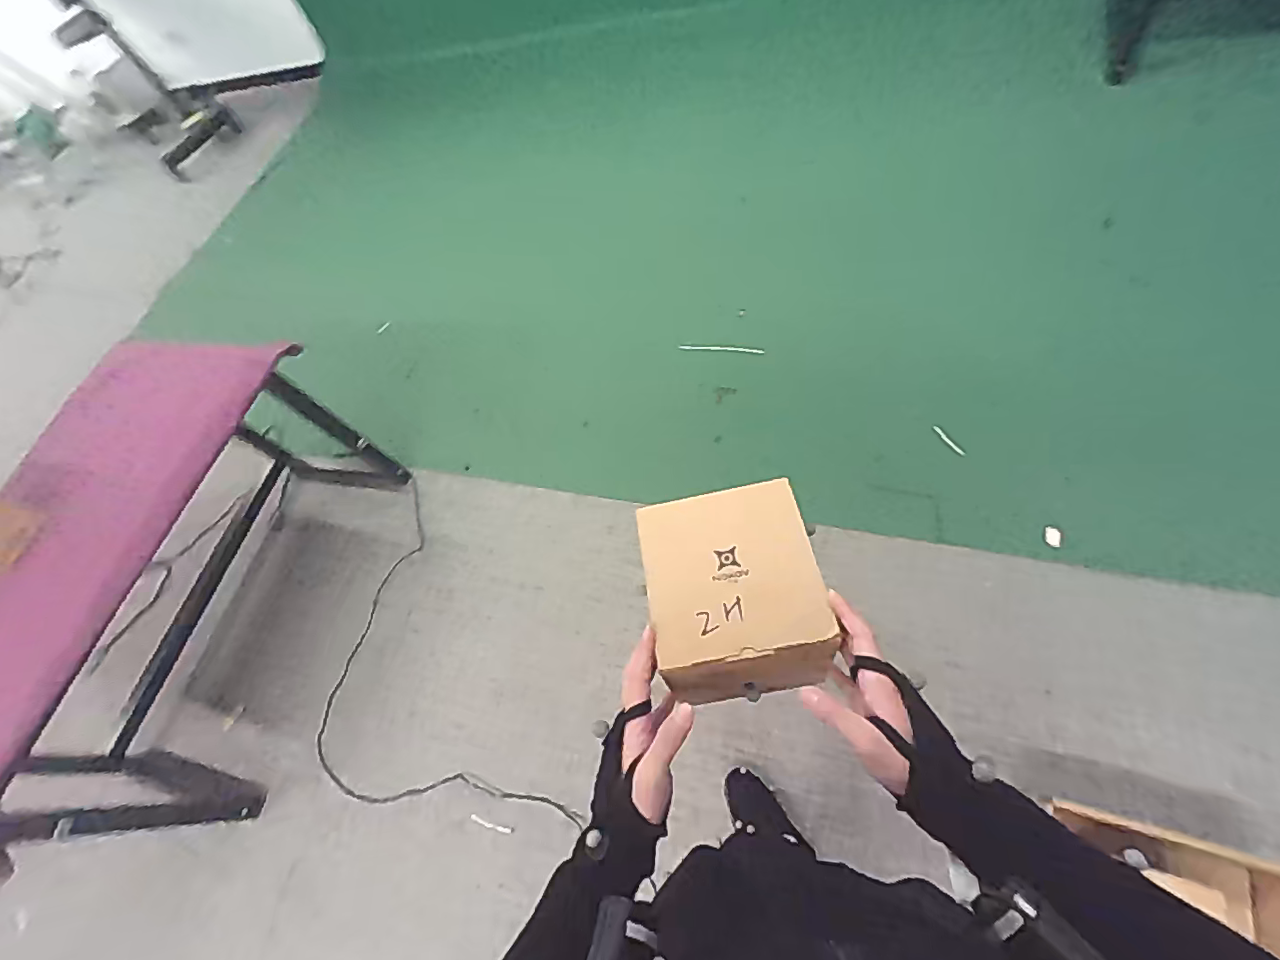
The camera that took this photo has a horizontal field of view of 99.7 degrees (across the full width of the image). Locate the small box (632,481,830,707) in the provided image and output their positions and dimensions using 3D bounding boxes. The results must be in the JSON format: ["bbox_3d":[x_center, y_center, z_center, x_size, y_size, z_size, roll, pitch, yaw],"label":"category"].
[{"bbox_3d":[0.093,0.130,0.591,0.168,0.176,0.179,-12,55,6],"label":"small box"}]

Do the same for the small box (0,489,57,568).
[{"bbox_3d":[-1.589,0.100,1.296,0.179,0.176,0.168,9,66,19],"label":"small box"}]
